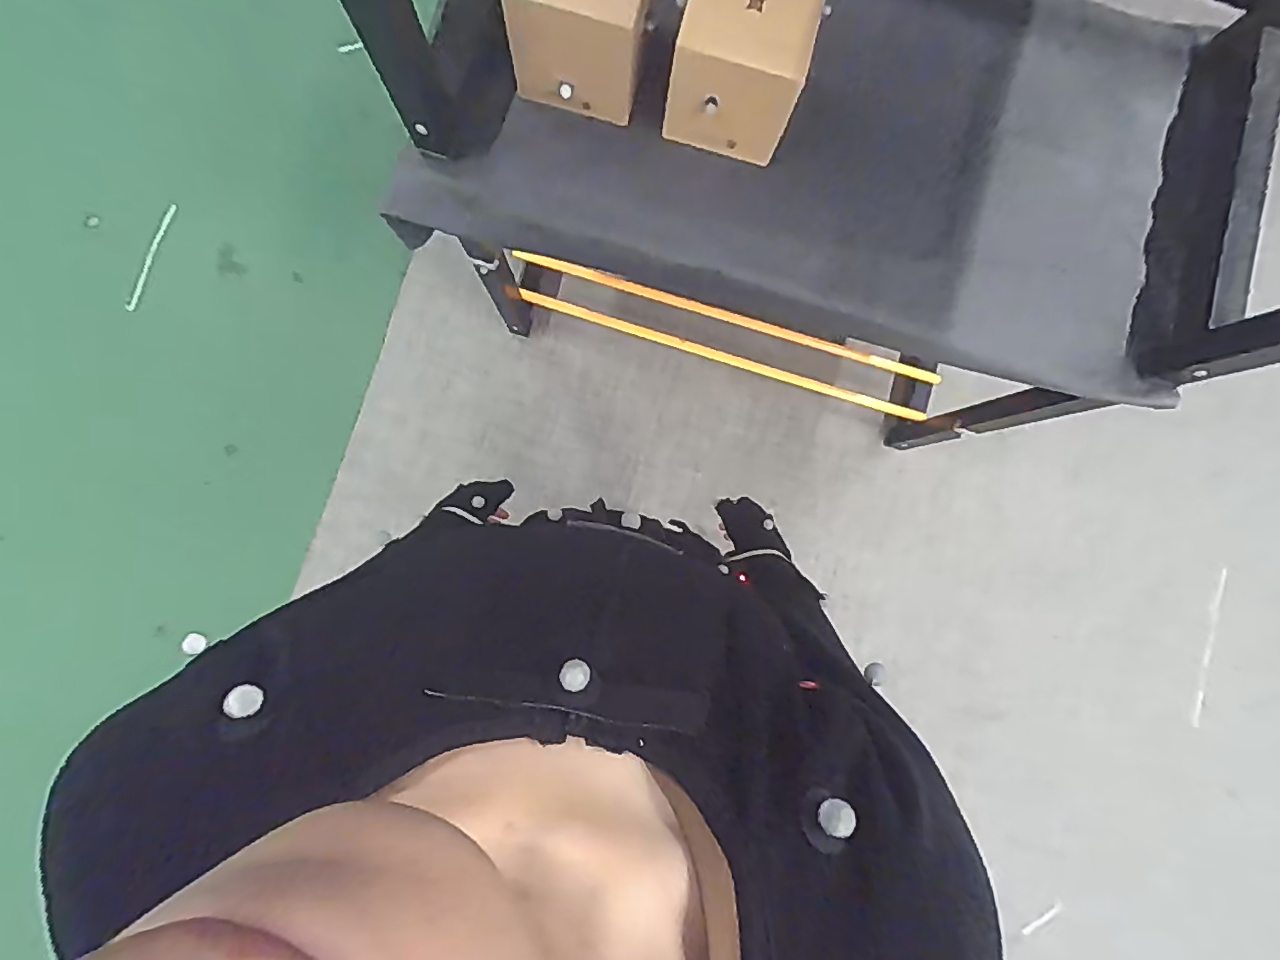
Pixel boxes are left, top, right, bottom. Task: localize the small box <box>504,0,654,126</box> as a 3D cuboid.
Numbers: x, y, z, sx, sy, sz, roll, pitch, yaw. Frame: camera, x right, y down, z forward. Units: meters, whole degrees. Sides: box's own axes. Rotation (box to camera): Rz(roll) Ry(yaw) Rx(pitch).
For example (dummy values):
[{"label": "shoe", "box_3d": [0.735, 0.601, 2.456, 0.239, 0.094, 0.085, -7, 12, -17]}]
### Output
[{"label": "small box", "box_3d": [-0.074, -0.630, 0.727, 0.168, 0.176, 0.179, 14, 86, -2]}]
